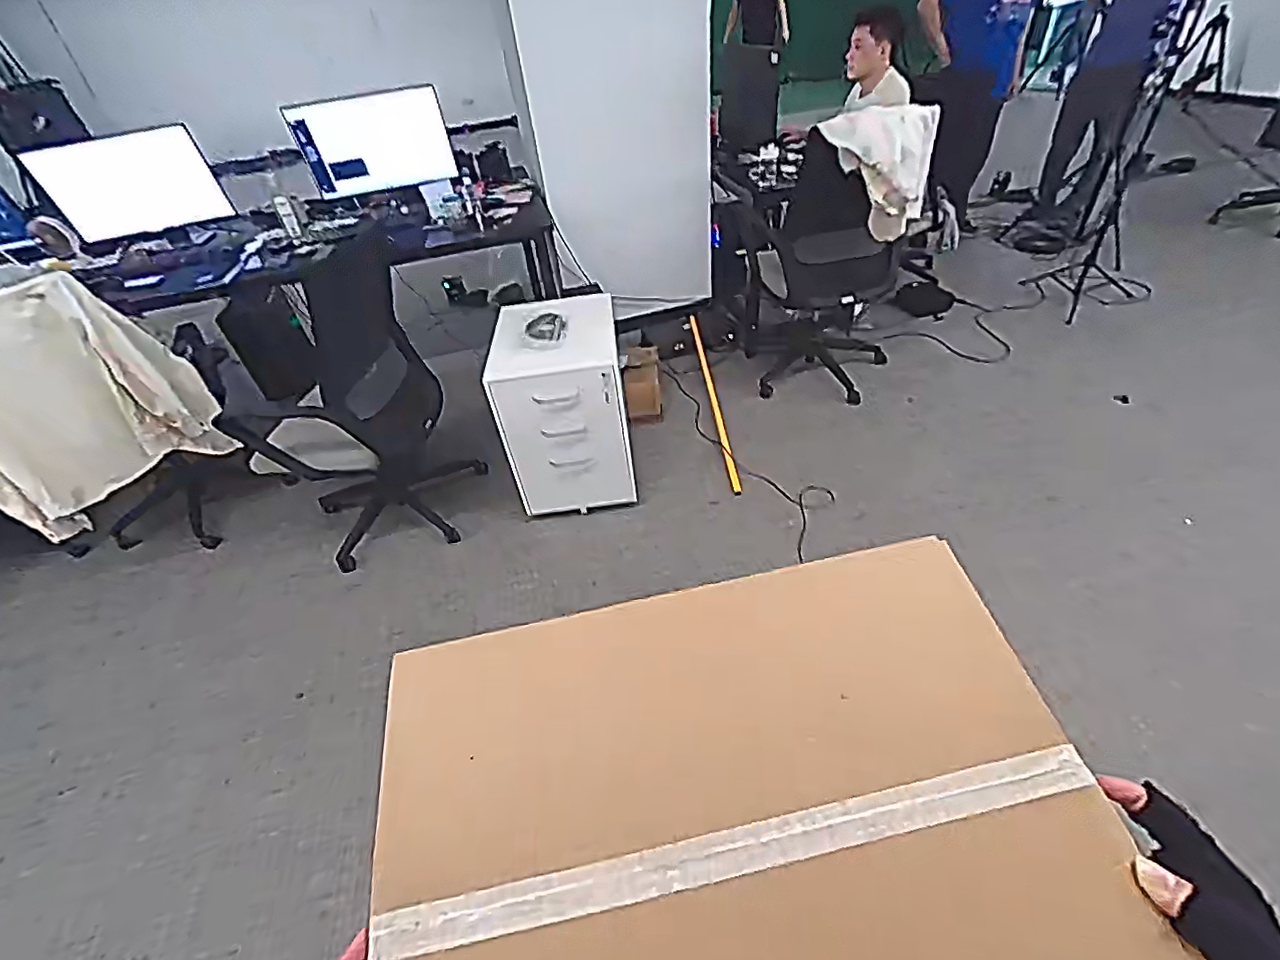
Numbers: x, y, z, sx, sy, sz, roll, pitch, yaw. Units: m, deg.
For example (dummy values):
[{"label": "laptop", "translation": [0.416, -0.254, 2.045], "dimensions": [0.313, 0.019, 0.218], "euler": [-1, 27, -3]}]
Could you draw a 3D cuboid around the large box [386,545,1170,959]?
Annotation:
[{"label": "large box", "translation": [0.066, 0.295, 0.432], "dimensions": [0.408, 0.320, 0.320], "euler": [-12, 53, -3]}]
